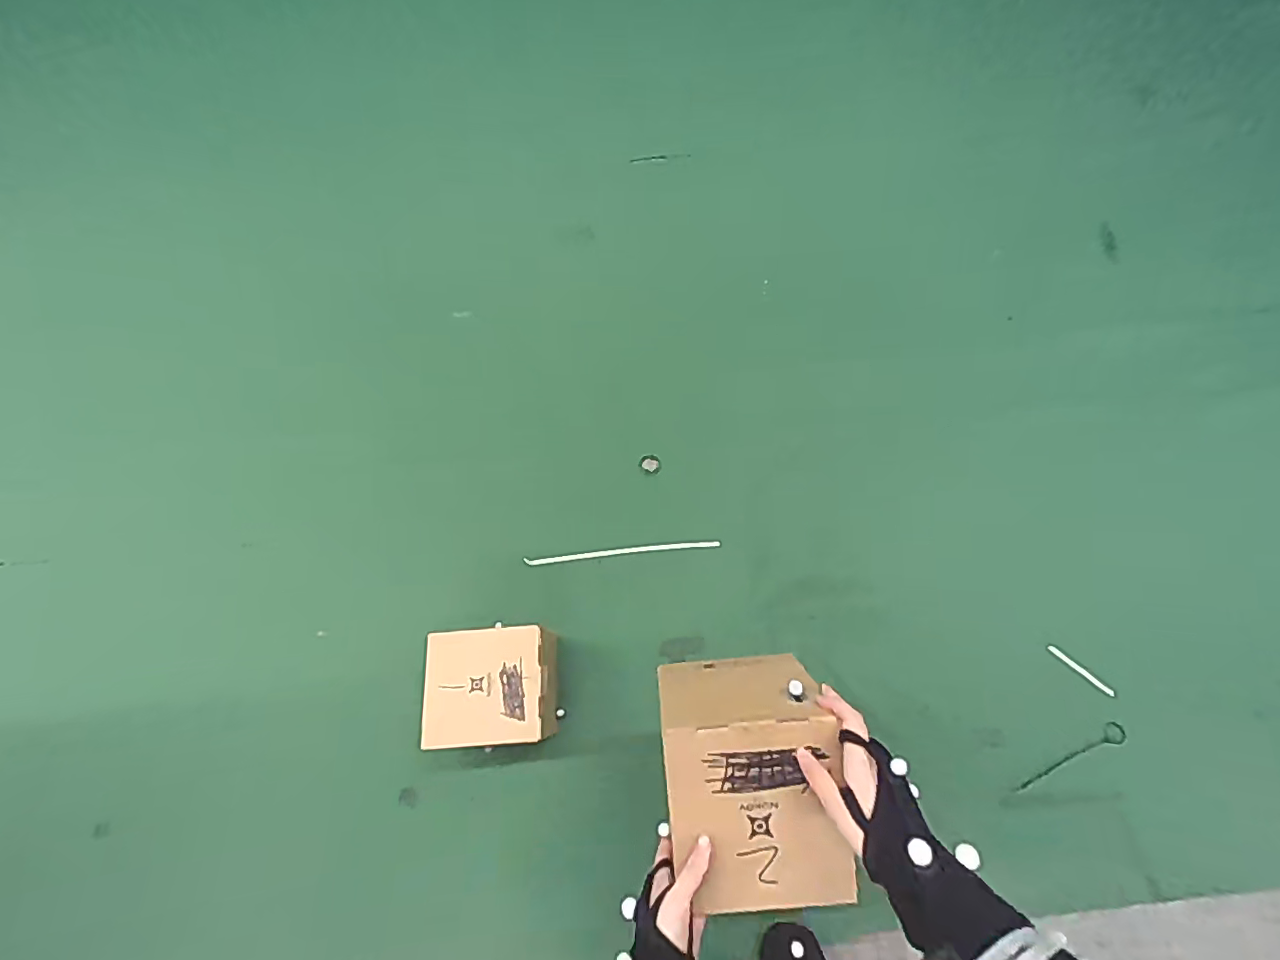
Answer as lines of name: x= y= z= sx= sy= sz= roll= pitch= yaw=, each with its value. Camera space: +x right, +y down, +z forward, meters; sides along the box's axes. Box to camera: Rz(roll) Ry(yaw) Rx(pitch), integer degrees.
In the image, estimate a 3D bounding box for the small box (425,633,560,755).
small box: x=-0.228 y=0.346 z=0.883 sx=0.179 sy=0.176 sz=0.168 roll=-5 pitch=68 yaw=1
